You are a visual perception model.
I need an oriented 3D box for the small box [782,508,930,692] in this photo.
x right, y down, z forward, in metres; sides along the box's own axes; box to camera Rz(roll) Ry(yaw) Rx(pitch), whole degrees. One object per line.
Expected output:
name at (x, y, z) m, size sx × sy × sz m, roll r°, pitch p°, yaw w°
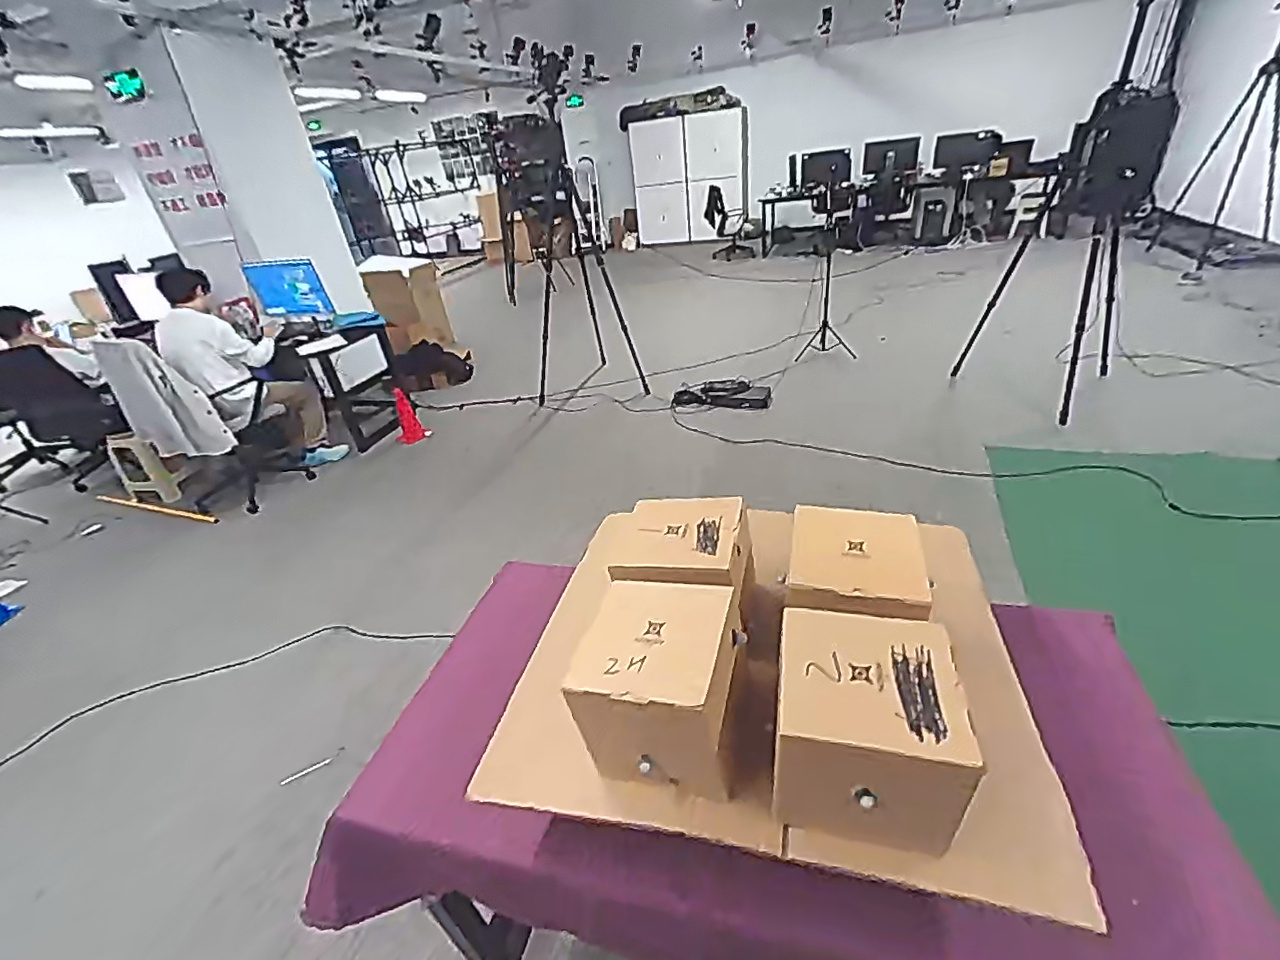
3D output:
small box at (0.293, 0.163, 0.764) m, size 0.168 × 0.176 × 0.179 m, roll 4°, pitch 35°, yaw 17°
